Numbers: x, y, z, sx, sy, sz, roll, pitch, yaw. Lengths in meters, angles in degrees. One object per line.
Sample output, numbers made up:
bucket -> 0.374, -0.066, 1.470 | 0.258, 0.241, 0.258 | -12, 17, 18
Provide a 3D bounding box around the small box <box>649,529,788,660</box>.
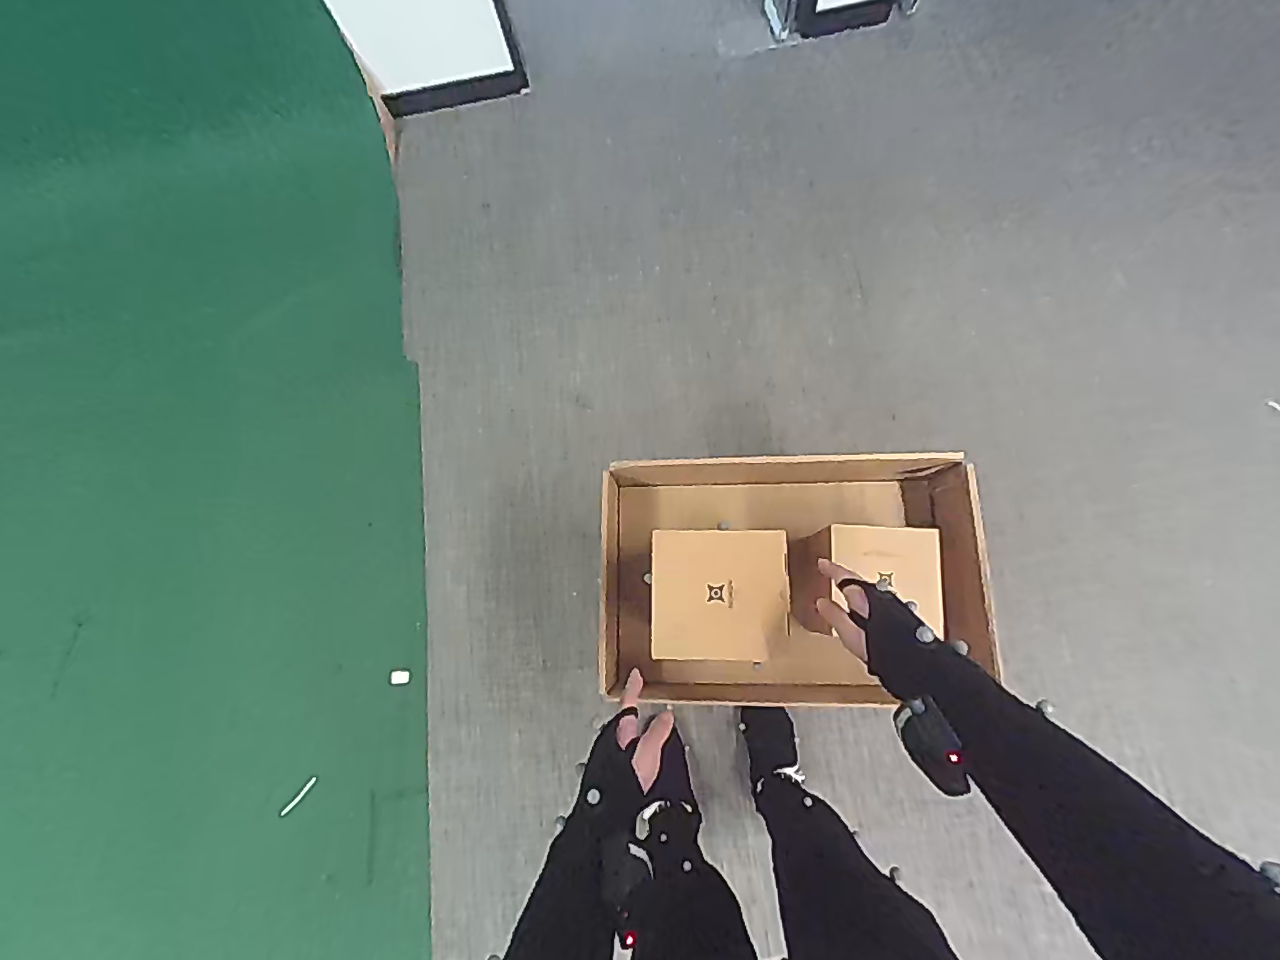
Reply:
small box -> 0.107, 0.163, 0.773 | 0.179, 0.176, 0.168 | -1, 78, 5
